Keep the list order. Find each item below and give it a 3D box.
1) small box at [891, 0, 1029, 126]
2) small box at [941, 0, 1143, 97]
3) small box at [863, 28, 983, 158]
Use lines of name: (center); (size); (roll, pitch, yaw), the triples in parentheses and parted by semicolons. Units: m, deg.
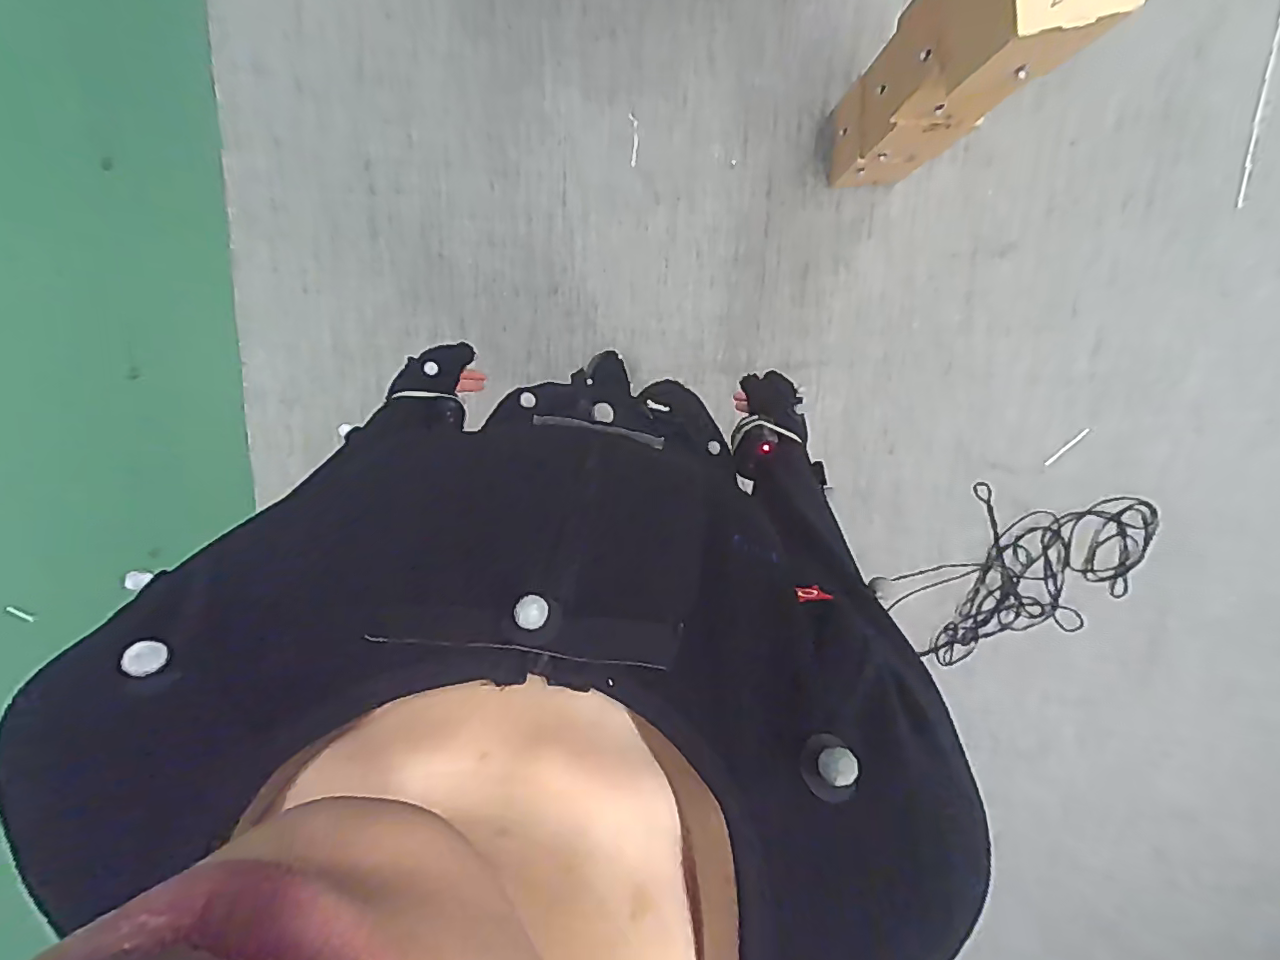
small box: (0.548, -0.736, 0.913); (0.168, 0.176, 0.179); (2, 102, 0)
small box: (0.548, -0.684, 0.757); (0.168, 0.176, 0.179); (-11, 102, 2)
small box: (0.559, -0.761, 1.074); (0.168, 0.176, 0.179); (-1, 100, -1)
